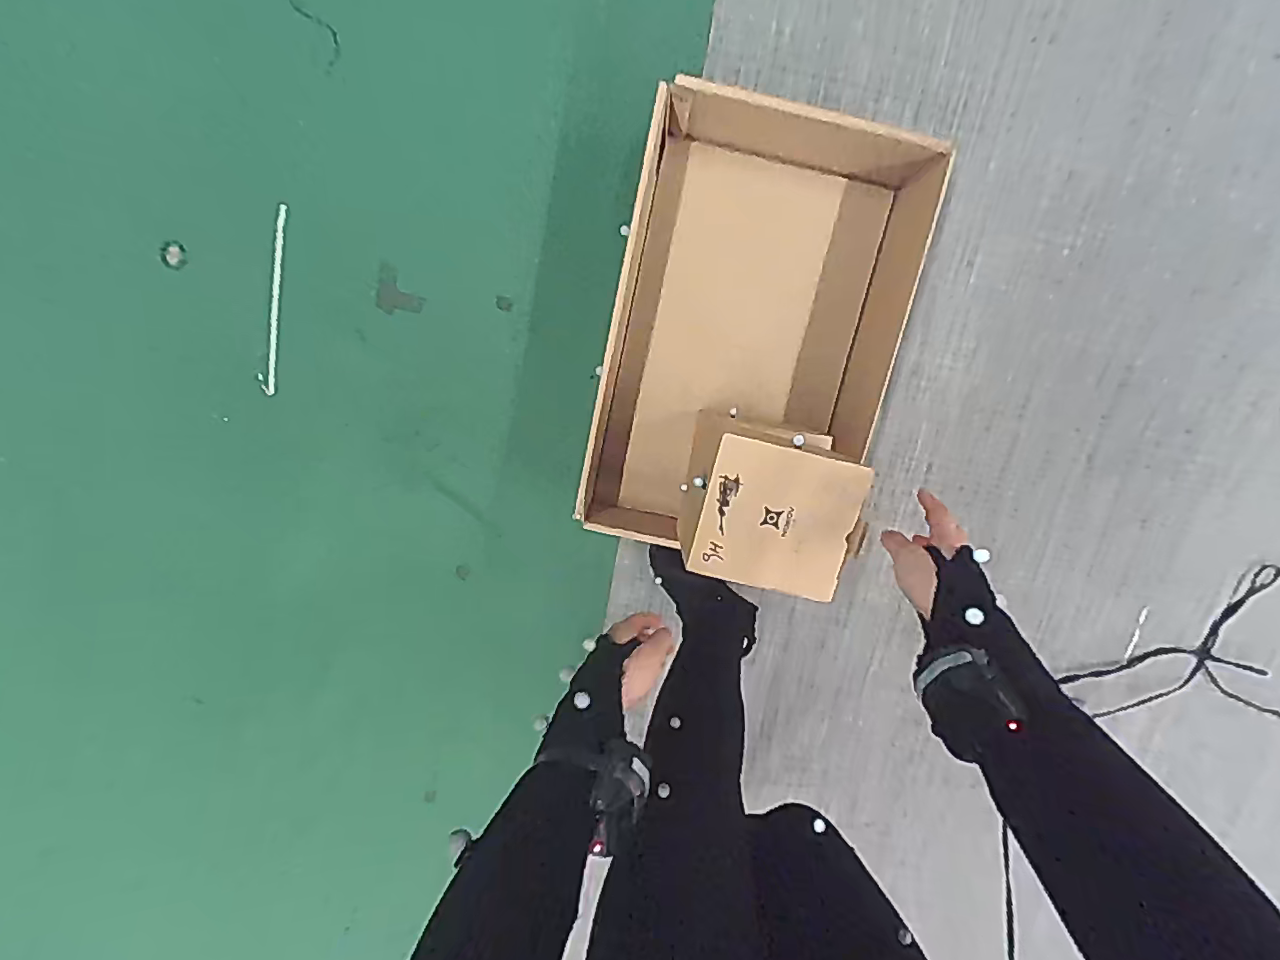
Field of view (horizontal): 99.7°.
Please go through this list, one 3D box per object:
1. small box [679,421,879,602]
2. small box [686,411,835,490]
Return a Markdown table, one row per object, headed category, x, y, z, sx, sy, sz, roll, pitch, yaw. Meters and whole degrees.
| category | x | y | z | sx | sy | sz | roll | pitch | yaw |
| --- | --- | --- | --- | --- | --- | --- | --- | --- | --- |
| small box | 0.157 | 0.027 | 0.677 | 0.179 | 0.176 | 0.168 | 14 | 101 | -3 |
| small box | 0.172 | -0.012 | 0.836 | 0.179 | 0.176 | 0.168 | 9 | 101 | -3 |
